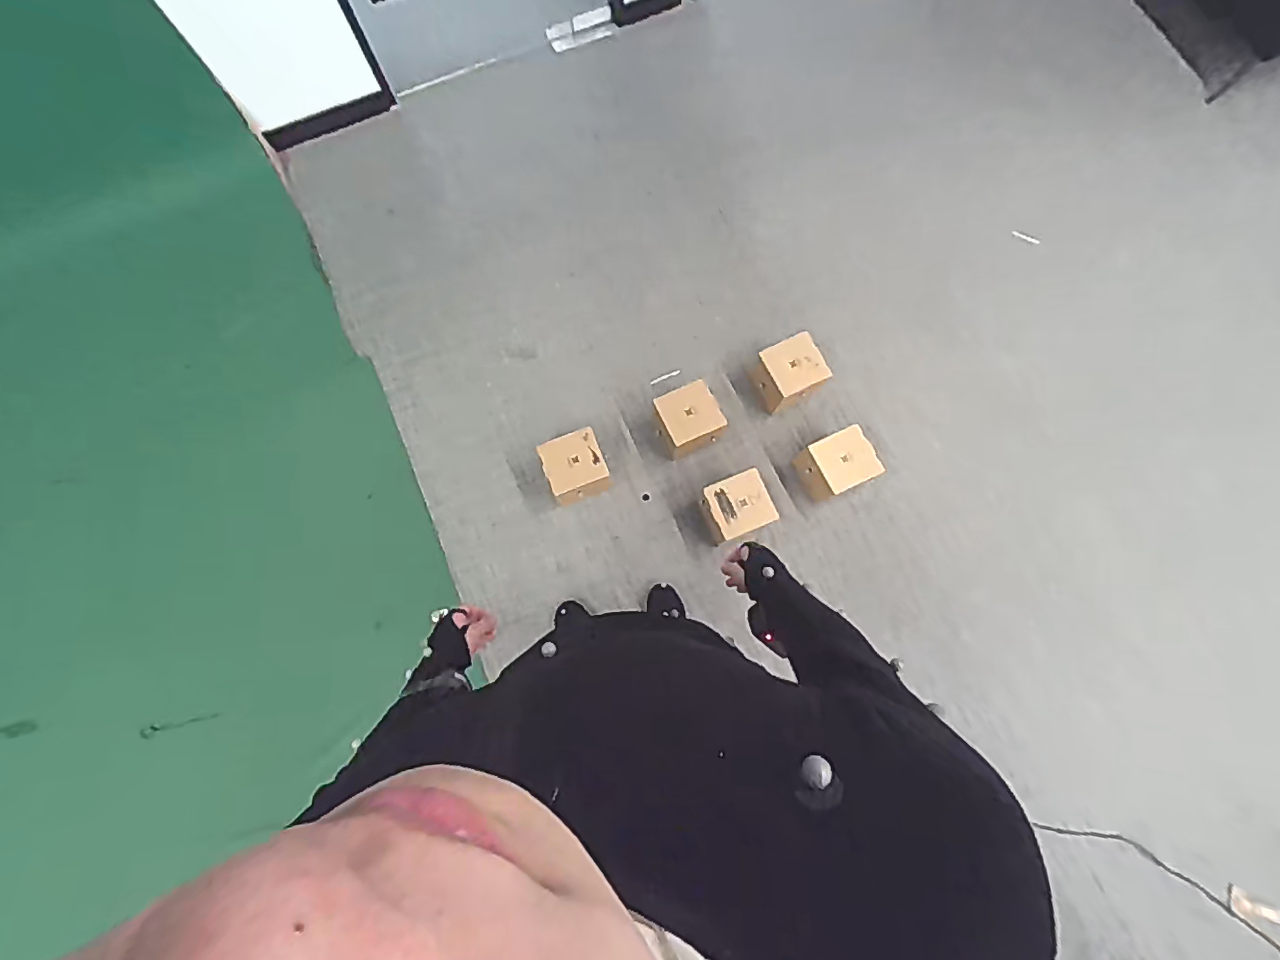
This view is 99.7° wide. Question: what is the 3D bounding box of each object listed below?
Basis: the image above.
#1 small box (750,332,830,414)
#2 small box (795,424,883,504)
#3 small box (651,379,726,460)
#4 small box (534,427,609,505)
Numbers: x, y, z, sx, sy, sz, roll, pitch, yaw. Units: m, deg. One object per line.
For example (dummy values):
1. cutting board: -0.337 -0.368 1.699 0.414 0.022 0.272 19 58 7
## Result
1. small box: 0.466 -0.334 1.721 0.179 0.176 0.168 -25 79 -7
2. small box: 0.596 -0.042 1.658 0.179 0.176 0.168 -25 78 -7
3. small box: 0.144 -0.183 1.684 0.179 0.176 0.168 -24 78 -6
4. small box: -0.202 -0.037 1.645 0.179 0.176 0.168 -21 78 -5
